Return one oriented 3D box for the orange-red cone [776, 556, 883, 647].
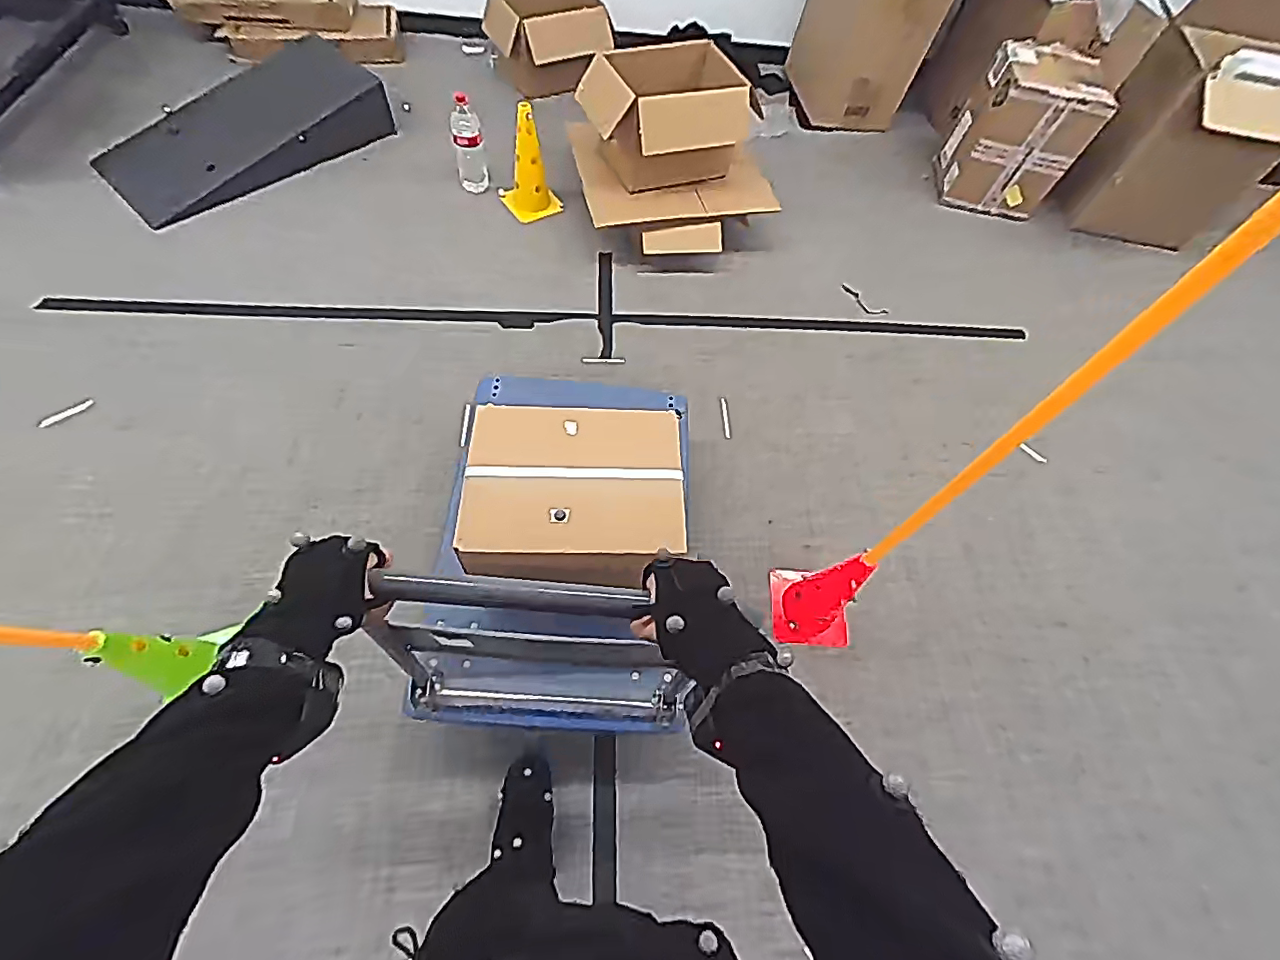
[{"bbox_3d":[0.476,0.256,1.284,0.199,0.360,0.198,7,62,-4],"label":"orange-red cone"}]
